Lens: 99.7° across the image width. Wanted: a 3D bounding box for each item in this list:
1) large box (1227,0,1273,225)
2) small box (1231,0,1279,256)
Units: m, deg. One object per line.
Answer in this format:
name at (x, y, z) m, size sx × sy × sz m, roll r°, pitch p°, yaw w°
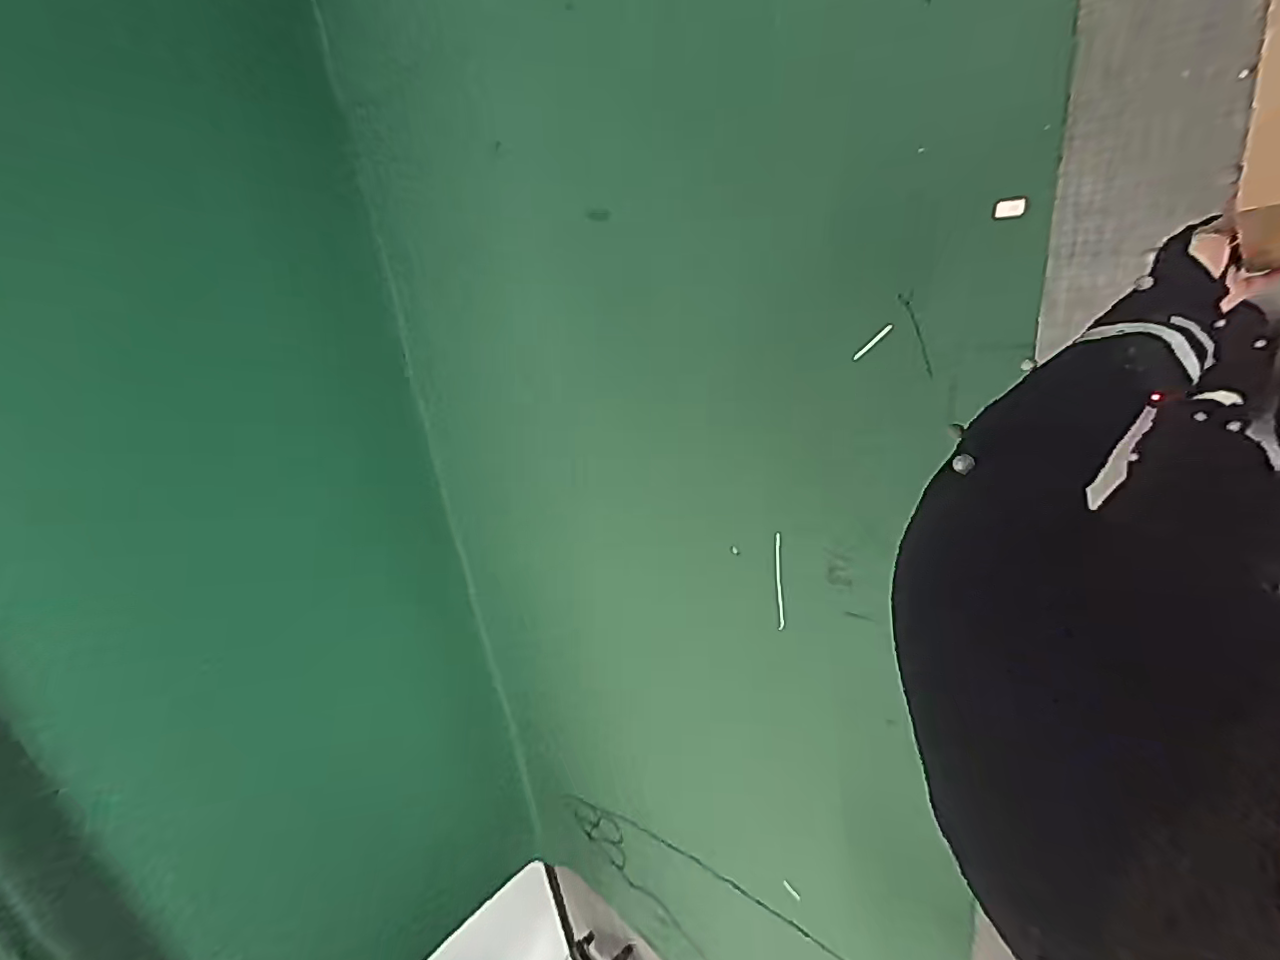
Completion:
large box at (0.959, -0.554, 0.645) m, size 0.320 × 0.320 × 0.408 m, roll 9°, pitch 115°, yaw 44°
small box at (0.575, -0.279, 0.396) m, size 0.168 × 0.176 × 0.179 m, roll 12°, pitch 97°, yaw 49°
